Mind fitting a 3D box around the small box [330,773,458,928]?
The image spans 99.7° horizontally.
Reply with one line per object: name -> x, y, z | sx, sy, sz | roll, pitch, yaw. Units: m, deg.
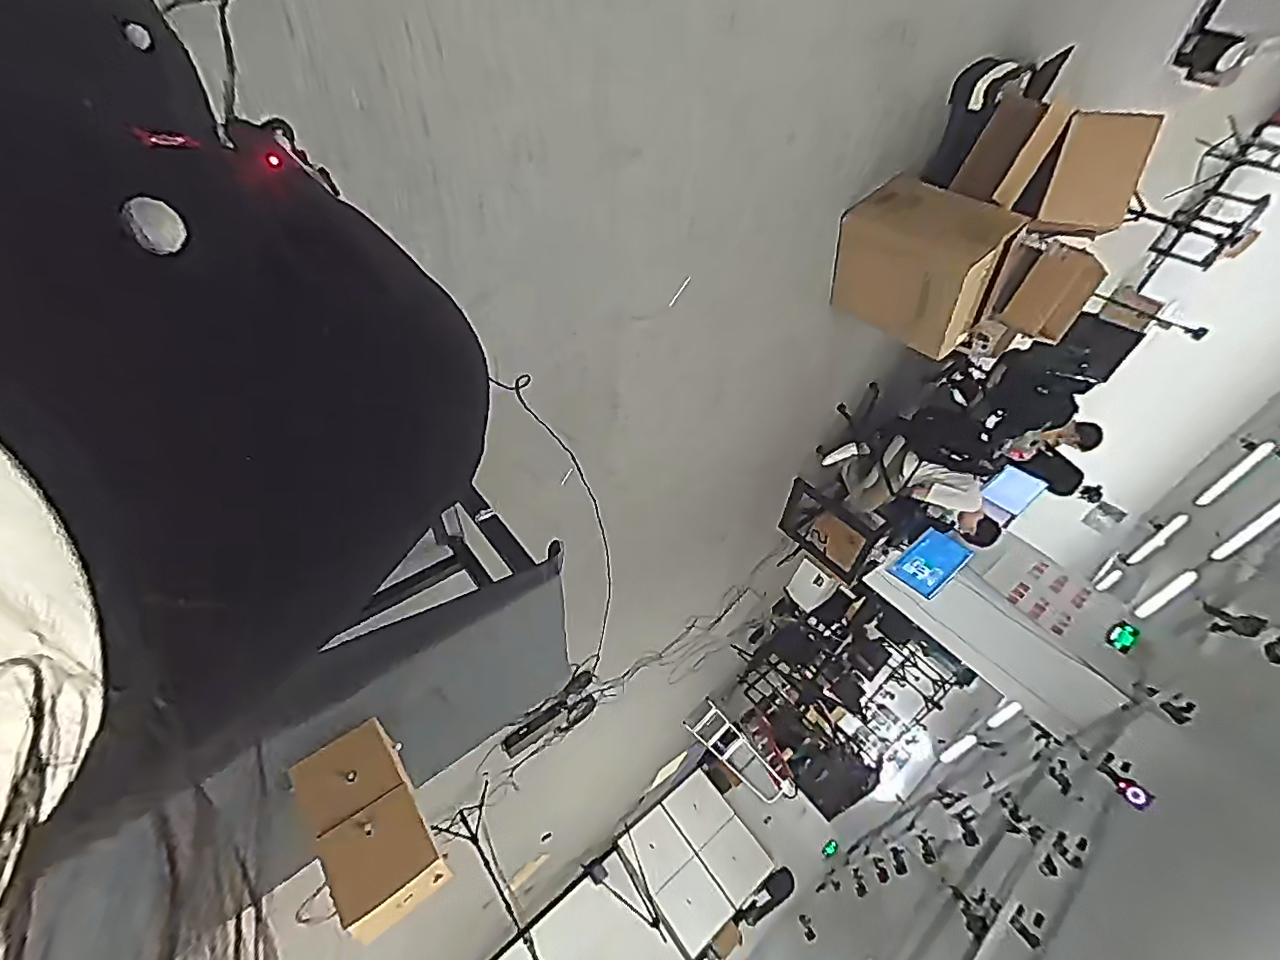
small box -> -0.489, 0.729, 1.074 | 0.179, 0.176, 0.168 | -26, 144, -30

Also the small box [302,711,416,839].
small box -> -0.595, 0.638, 1.159 | 0.179, 0.176, 0.168 | -29, 145, -26
